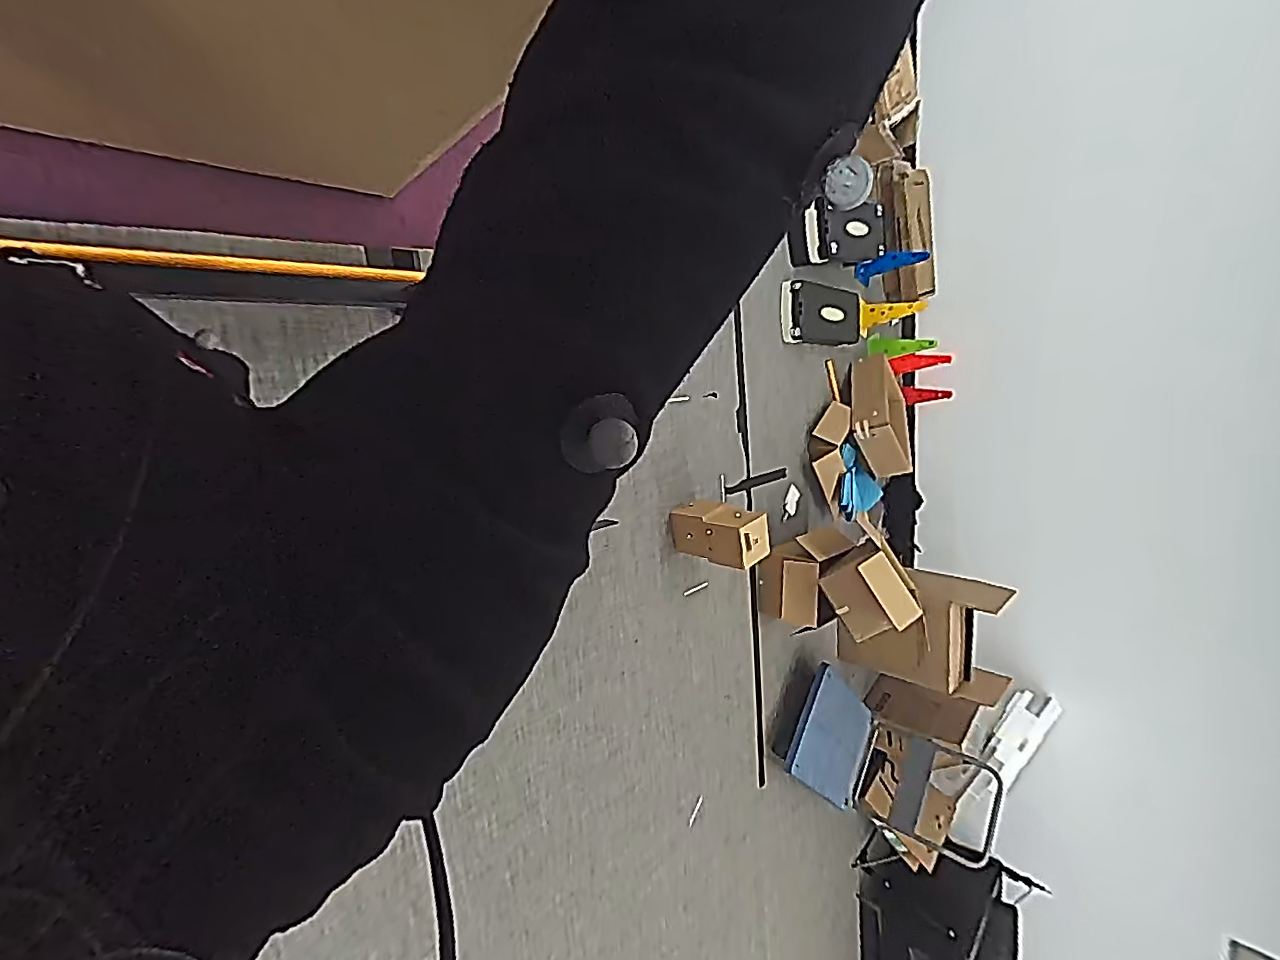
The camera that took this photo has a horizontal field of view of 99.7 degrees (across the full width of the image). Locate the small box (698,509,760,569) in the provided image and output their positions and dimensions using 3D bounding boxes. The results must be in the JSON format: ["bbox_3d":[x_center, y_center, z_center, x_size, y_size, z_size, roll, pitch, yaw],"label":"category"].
[{"bbox_3d":[0.331,0.217,2.042,0.179,0.176,0.168,-22,110,-43],"label":"small box"}]
